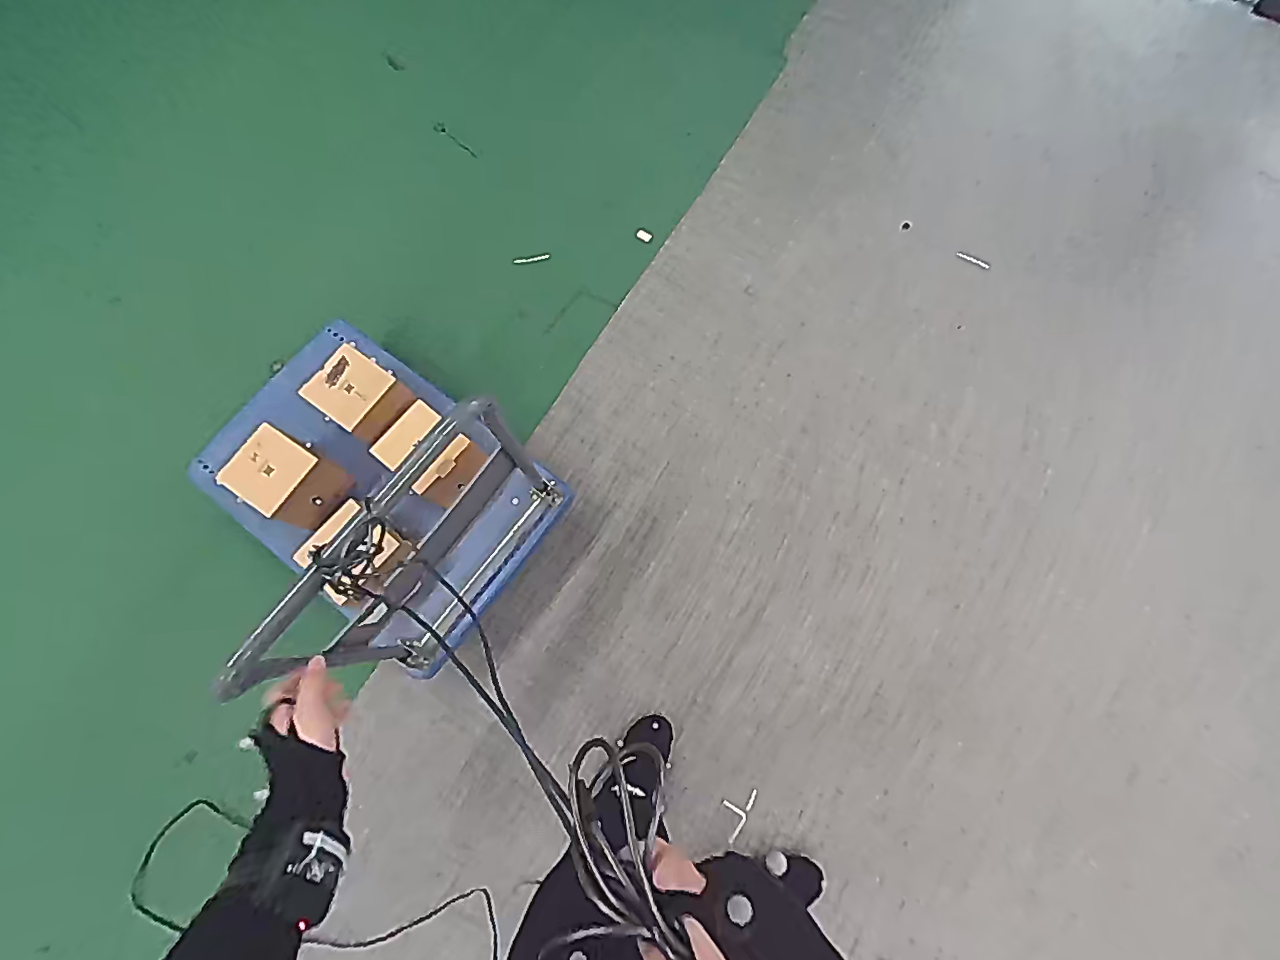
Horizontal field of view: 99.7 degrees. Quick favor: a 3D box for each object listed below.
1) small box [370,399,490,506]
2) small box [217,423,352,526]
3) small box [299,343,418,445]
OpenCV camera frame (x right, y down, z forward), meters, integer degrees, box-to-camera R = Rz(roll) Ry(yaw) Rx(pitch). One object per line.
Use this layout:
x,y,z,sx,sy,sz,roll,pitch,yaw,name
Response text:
-0.498,-0.058,1.306,0.179,0.176,0.168,38,80,11,small box
-0.844,-0.005,1.306,0.179,0.176,0.168,32,78,11,small box
-0.689,-0.202,1.353,0.179,0.176,0.168,35,80,10,small box
